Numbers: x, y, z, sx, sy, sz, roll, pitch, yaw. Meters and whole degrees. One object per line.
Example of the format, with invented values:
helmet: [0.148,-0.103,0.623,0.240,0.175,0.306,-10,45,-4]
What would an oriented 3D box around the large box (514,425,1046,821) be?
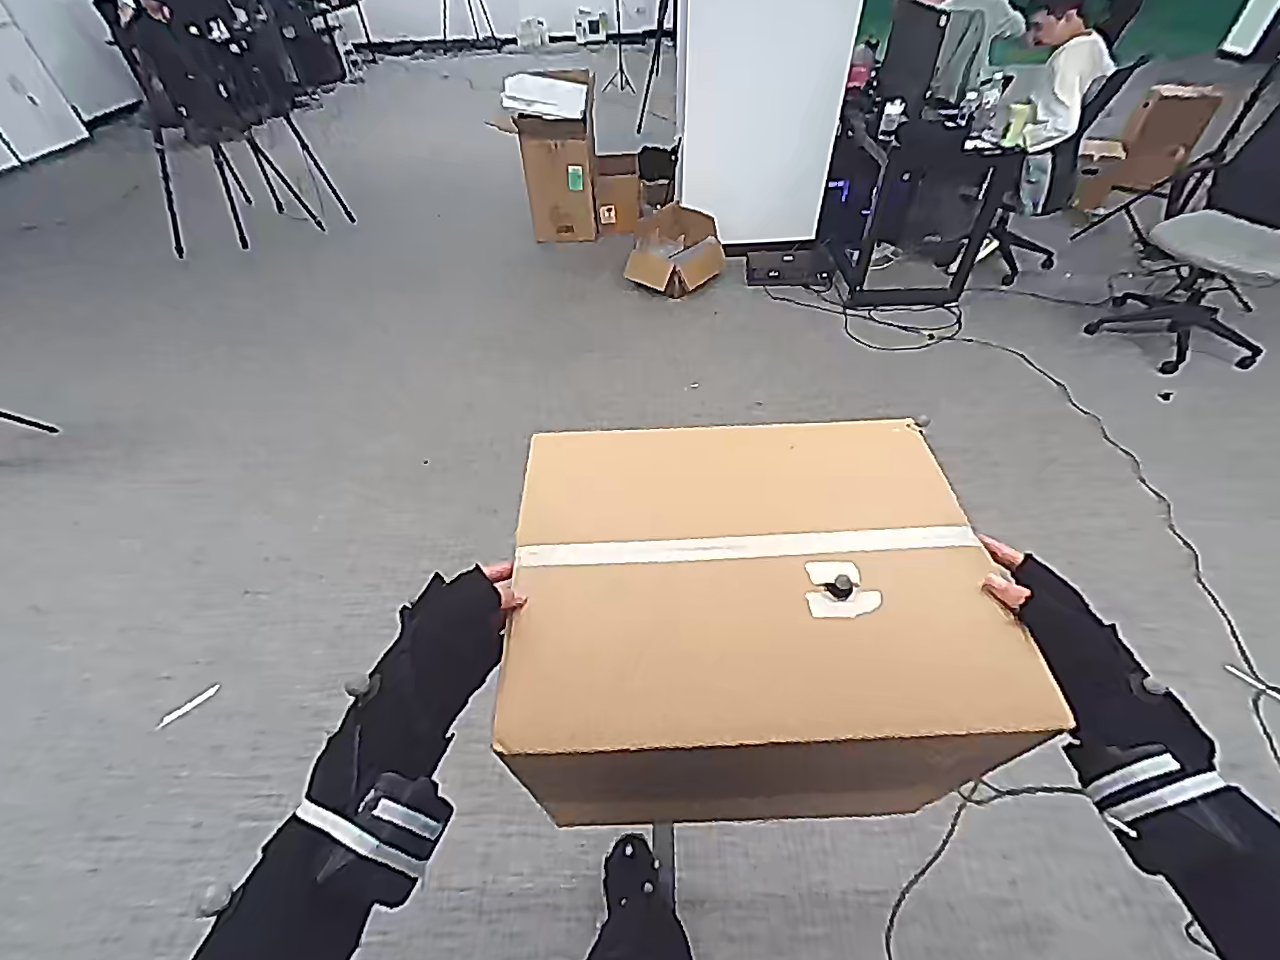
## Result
large box: [0.098,0.163,0.601,0.408,0.320,0.320,-3,50,-1]
